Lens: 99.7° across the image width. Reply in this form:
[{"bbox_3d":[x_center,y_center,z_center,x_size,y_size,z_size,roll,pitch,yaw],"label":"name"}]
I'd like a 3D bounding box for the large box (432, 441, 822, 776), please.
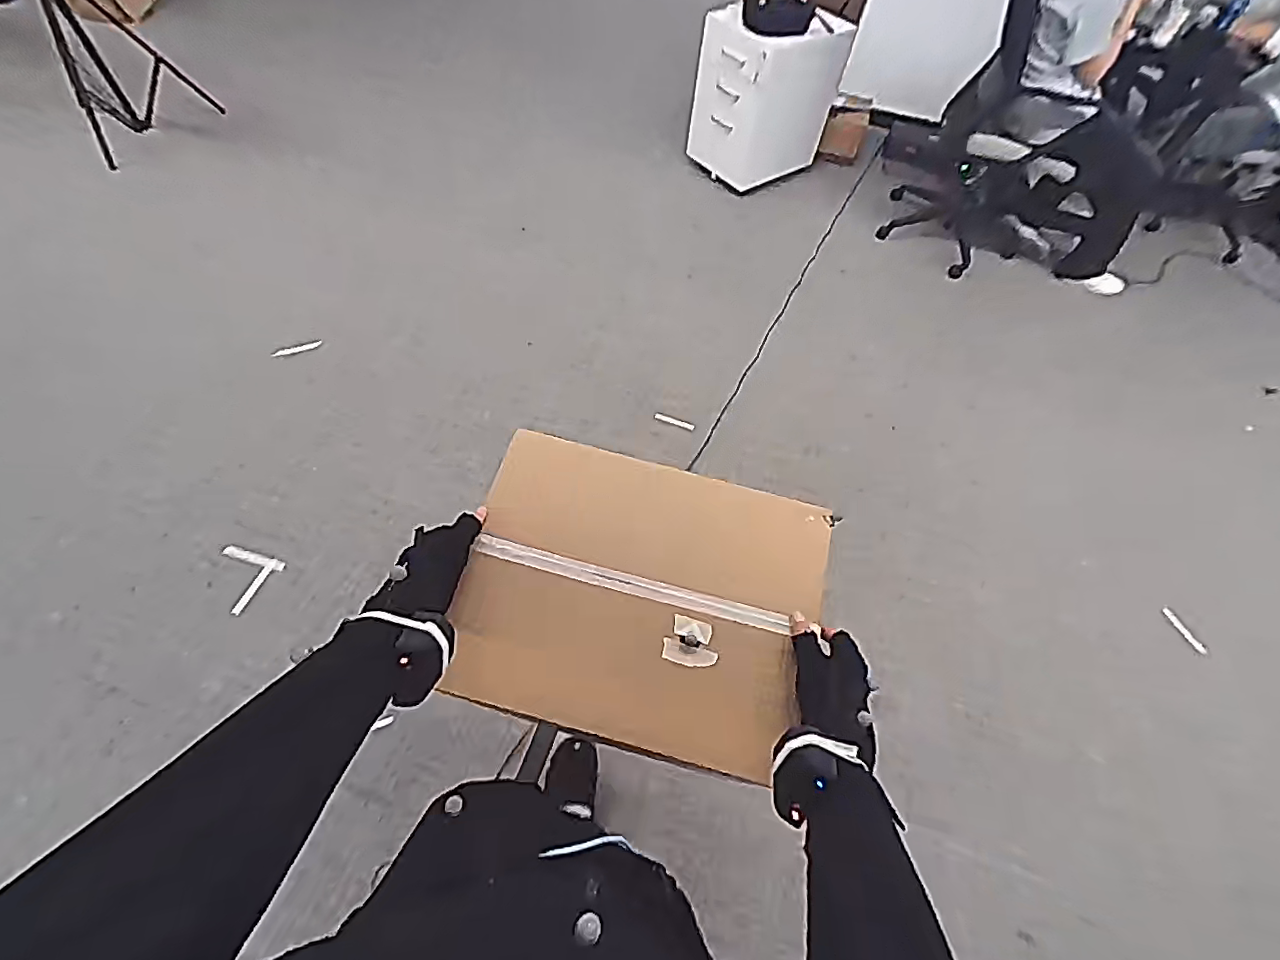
[{"bbox_3d":[-0.008,0.192,0.759,0.408,0.320,0.320,15,64,2],"label":"large box"}]
